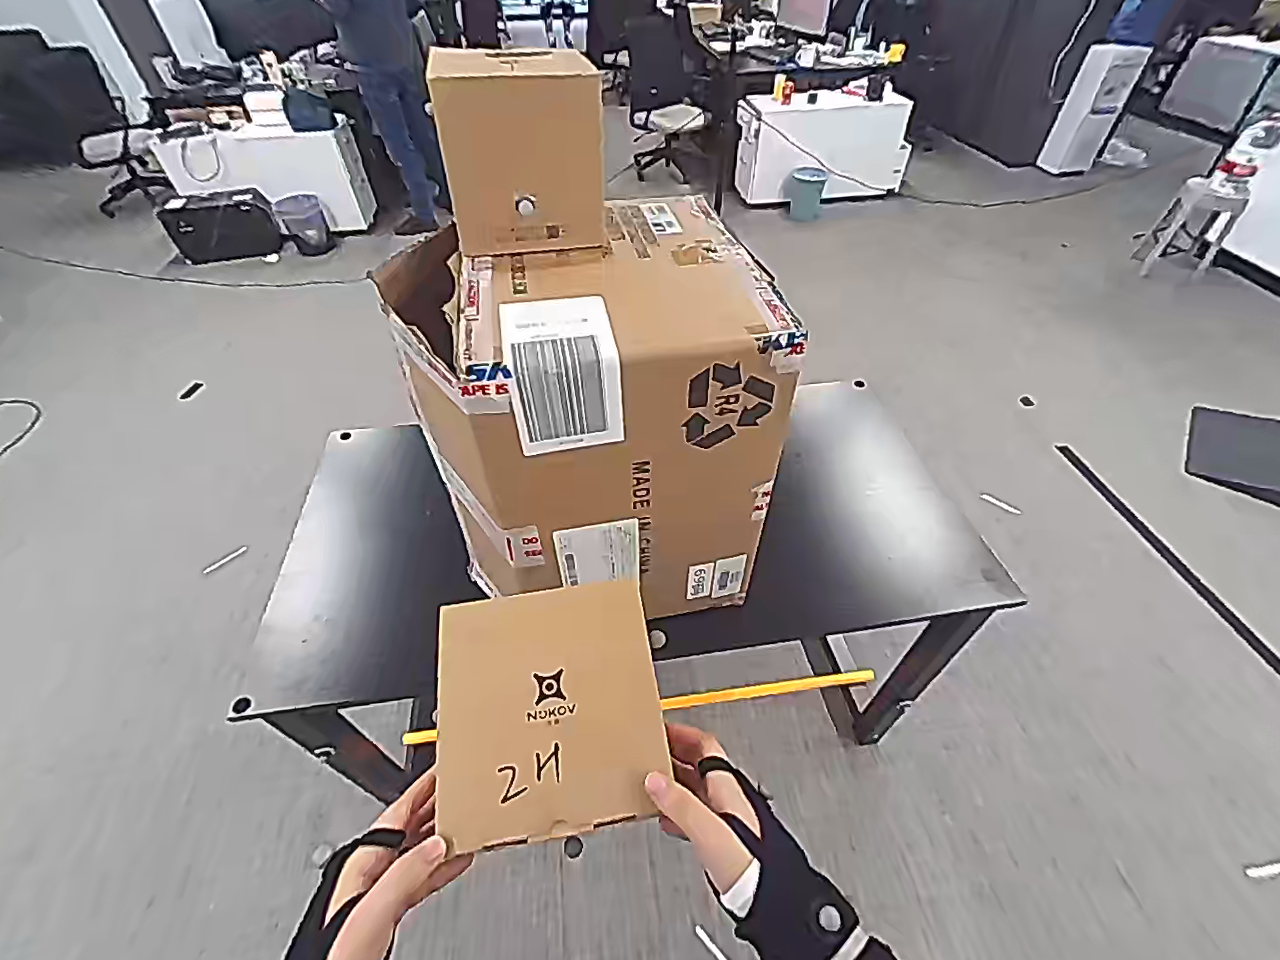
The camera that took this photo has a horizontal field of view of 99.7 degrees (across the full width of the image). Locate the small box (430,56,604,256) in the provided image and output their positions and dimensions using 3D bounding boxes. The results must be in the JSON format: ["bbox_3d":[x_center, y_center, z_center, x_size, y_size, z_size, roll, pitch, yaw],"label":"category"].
[{"bbox_3d":[-0.138,-0.379,0.633,0.168,0.176,0.179,-9,45,-10],"label":"small box"}]

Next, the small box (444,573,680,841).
[{"bbox_3d":[-0.066,0.206,0.483,0.168,0.176,0.179,-8,58,-6],"label":"small box"}]
